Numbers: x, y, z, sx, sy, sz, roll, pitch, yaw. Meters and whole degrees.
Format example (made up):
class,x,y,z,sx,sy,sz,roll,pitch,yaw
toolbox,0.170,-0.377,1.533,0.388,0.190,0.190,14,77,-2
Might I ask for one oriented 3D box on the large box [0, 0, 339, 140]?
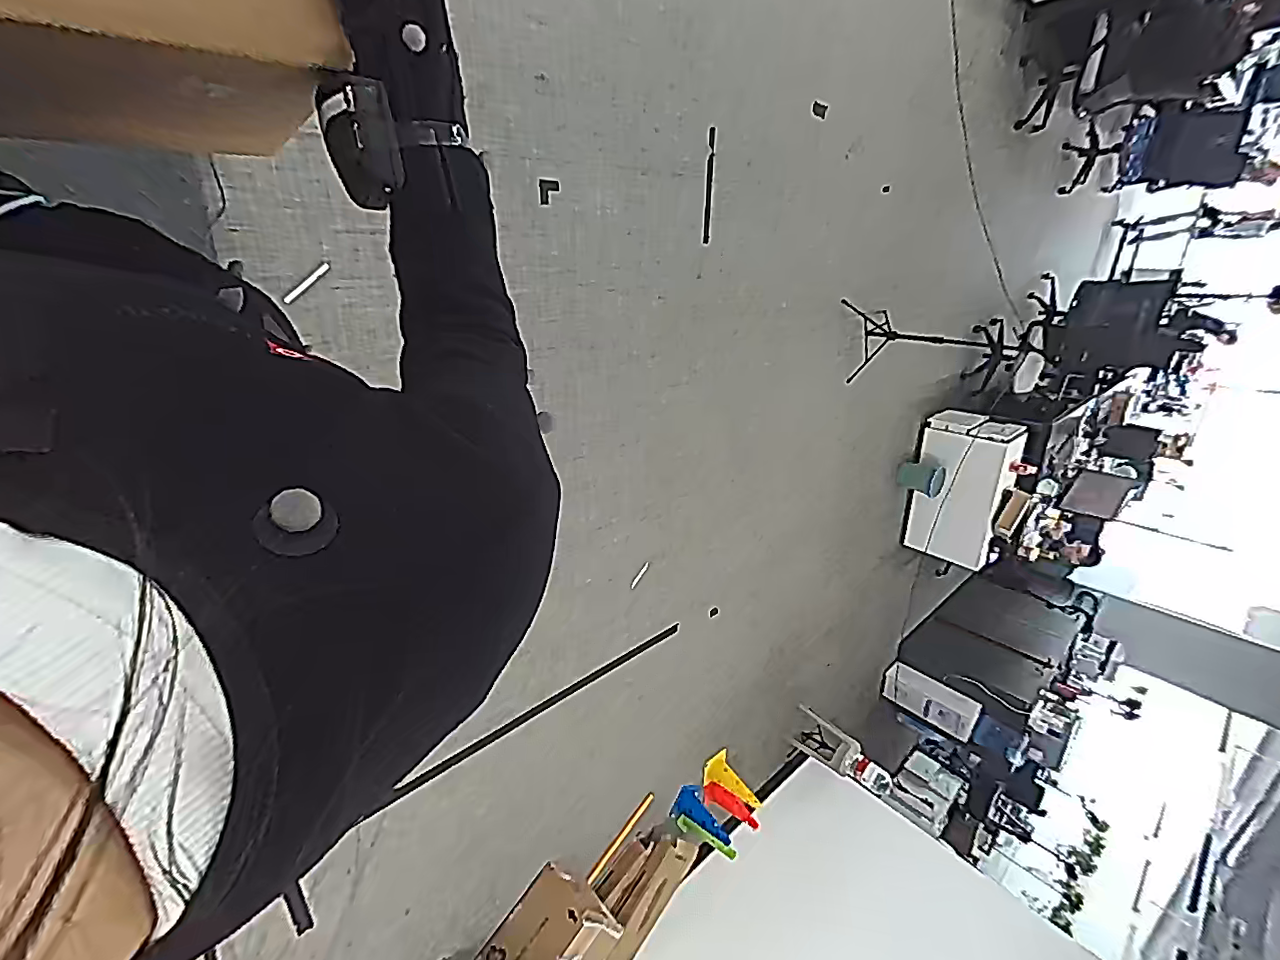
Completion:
class,x,y,z,sx,sy,sz,roll,pitch,yaw
large box,-0.439,-0.383,0.266,0.408,0.320,0.320,-21,120,-36
